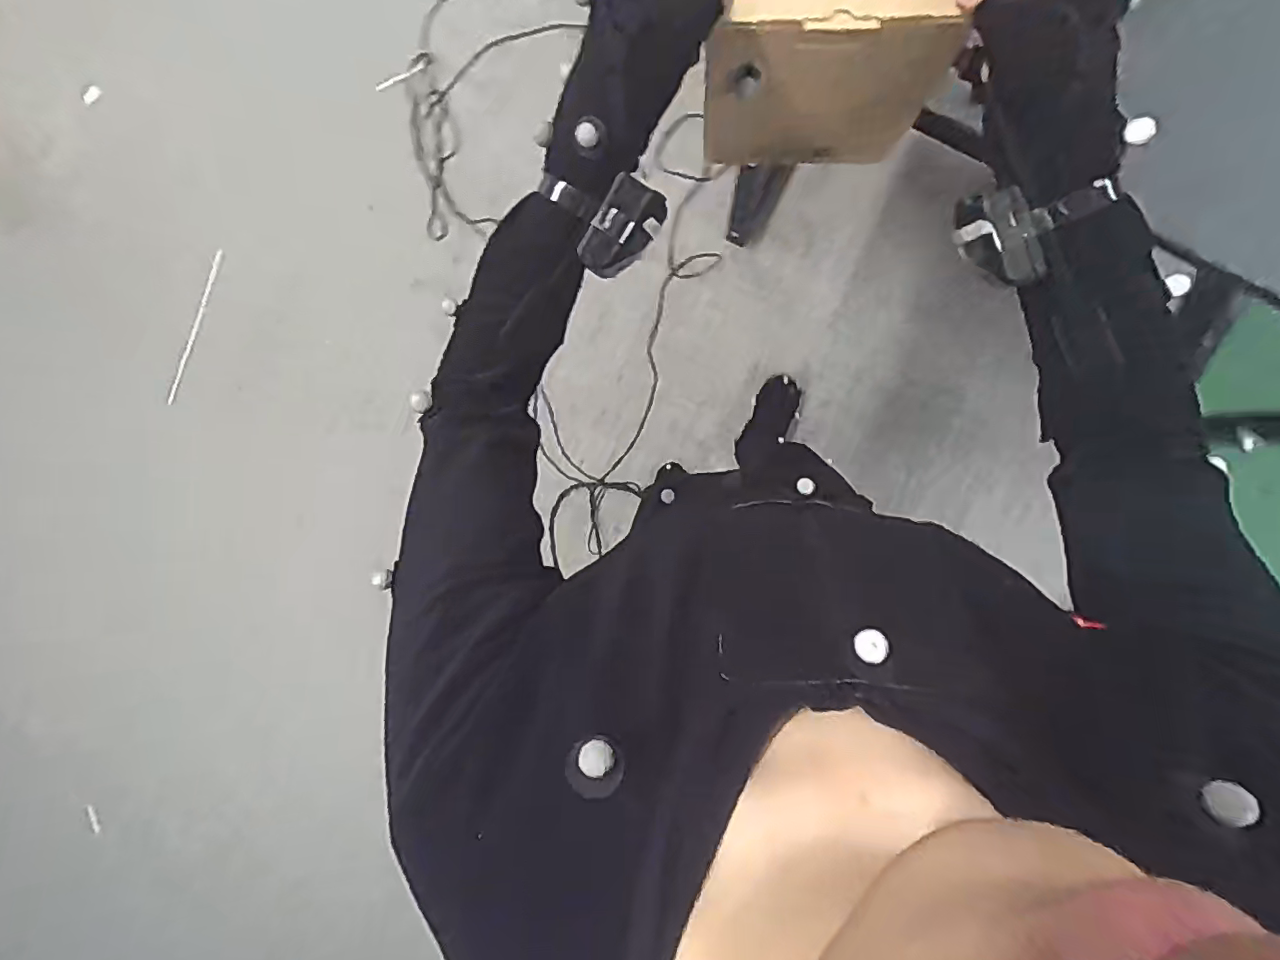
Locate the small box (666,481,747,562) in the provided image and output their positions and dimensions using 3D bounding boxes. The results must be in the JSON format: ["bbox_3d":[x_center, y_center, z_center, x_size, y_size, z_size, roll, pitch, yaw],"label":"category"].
[{"bbox_3d":[0.171,0.103,1.427,0.168,0.176,0.179,-9,95,-7],"label":"small box"}]
